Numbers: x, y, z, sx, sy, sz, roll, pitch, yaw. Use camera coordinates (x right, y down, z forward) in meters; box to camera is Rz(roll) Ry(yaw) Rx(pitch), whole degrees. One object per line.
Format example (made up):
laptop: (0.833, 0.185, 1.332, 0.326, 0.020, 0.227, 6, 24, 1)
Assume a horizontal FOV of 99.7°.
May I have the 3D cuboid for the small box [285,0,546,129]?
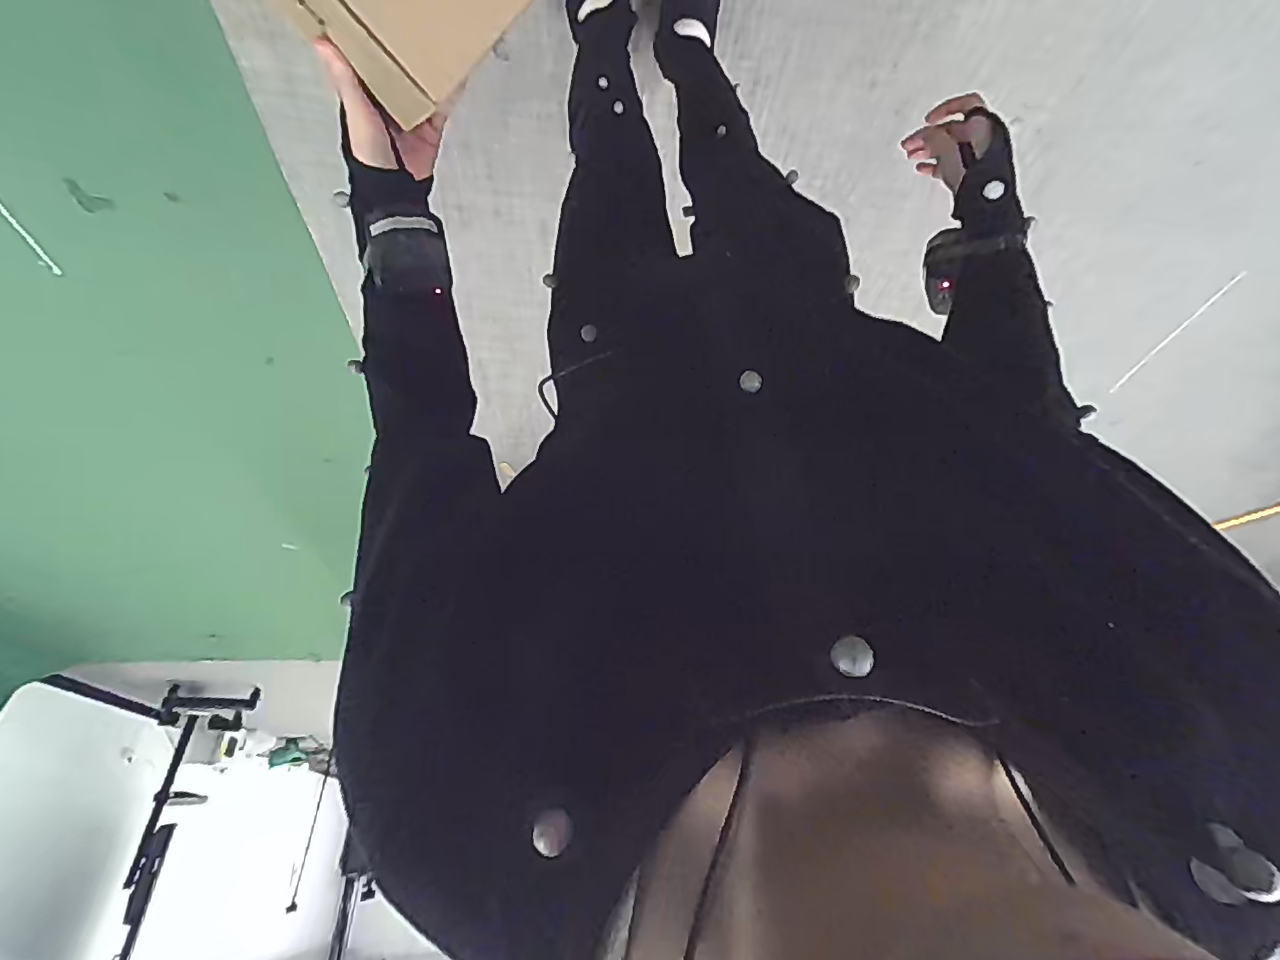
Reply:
small box: (-0.149, -0.364, 0.335, 0.176, 0.168, 0.179, -49, 130, -1)
